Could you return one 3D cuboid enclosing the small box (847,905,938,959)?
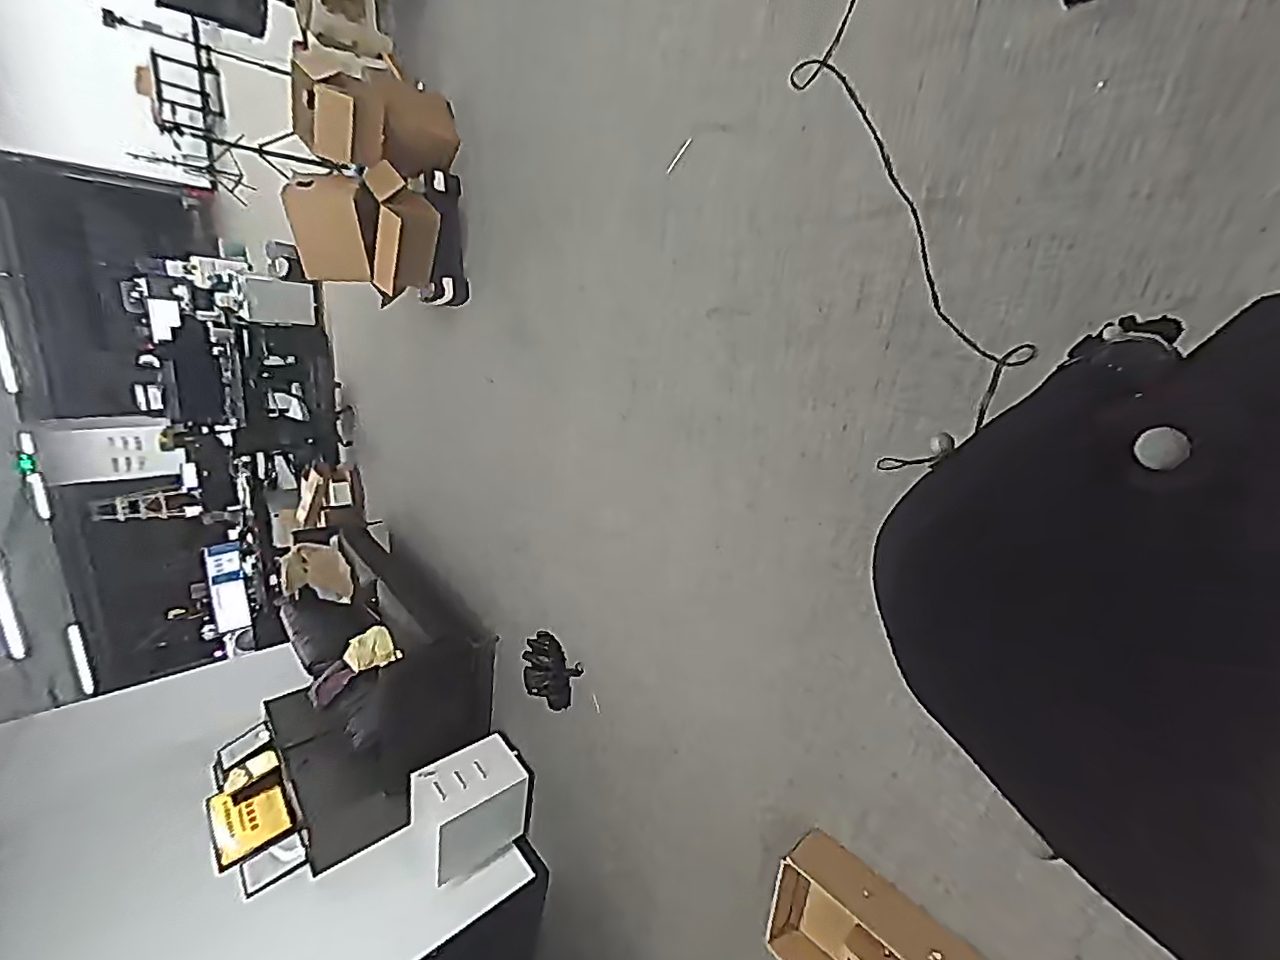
[{"bbox_3d":[0.724,1.385,1.561,0.179,0.176,0.168,23,116,42],"label":"small box"}]
